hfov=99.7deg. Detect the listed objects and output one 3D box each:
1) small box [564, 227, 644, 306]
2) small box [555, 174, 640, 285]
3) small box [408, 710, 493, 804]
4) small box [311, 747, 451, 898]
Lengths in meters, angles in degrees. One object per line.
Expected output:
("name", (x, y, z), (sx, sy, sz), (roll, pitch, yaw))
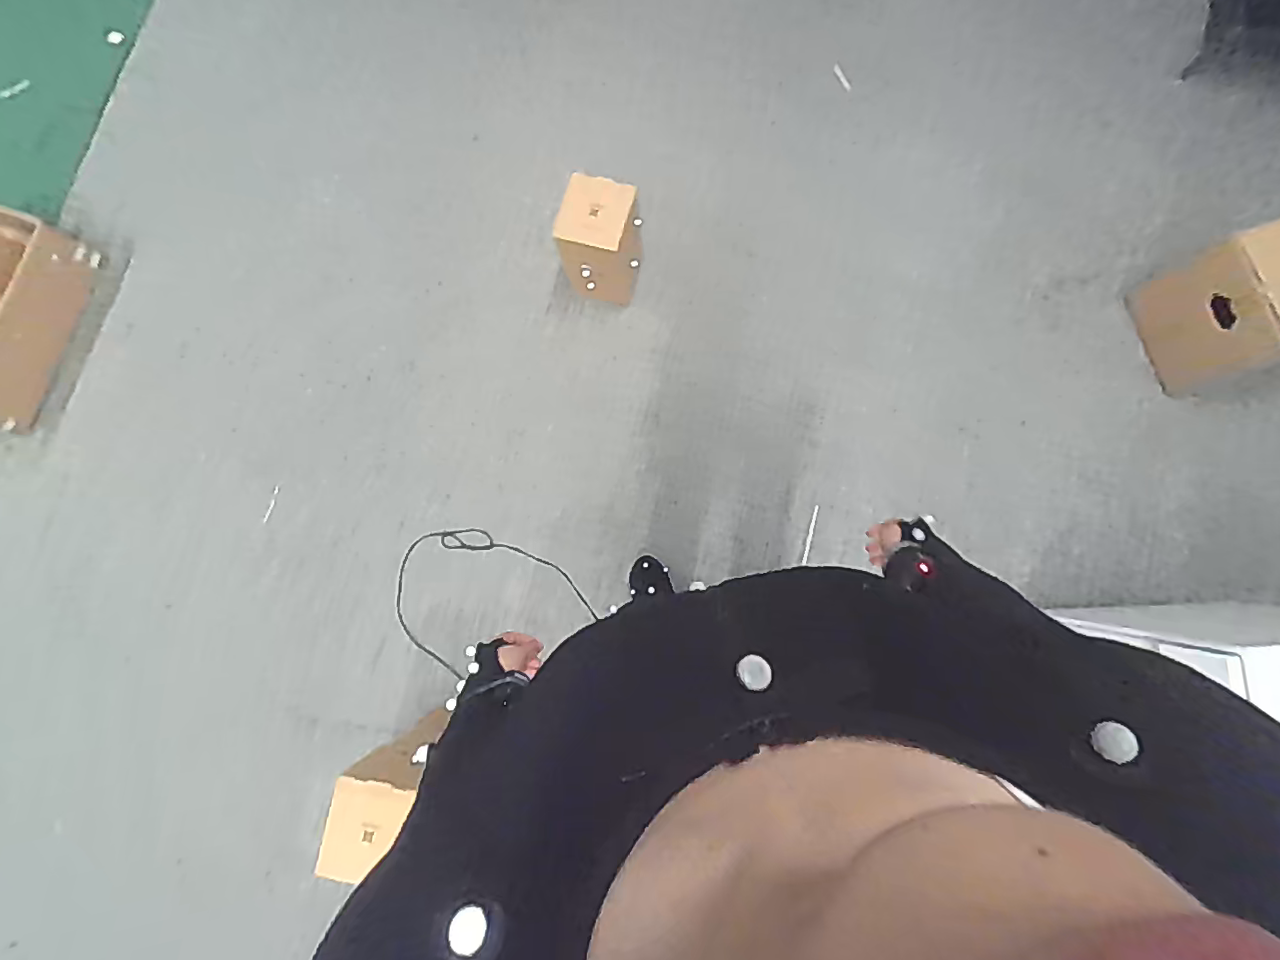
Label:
("small box", (-0.095, -0.617, 1.535), (0.179, 0.176, 0.168), (16, 83, 5))
("small box", (-0.100, -0.629, 1.373), (0.168, 0.176, 0.179), (16, 84, 6))
("small box", (-0.484, 0.699, 1.366), (0.168, 0.176, 0.179), (7, 83, 4))
("small box", (-0.487, 0.648, 1.044), (0.168, 0.176, 0.179), (10, 82, 4))
